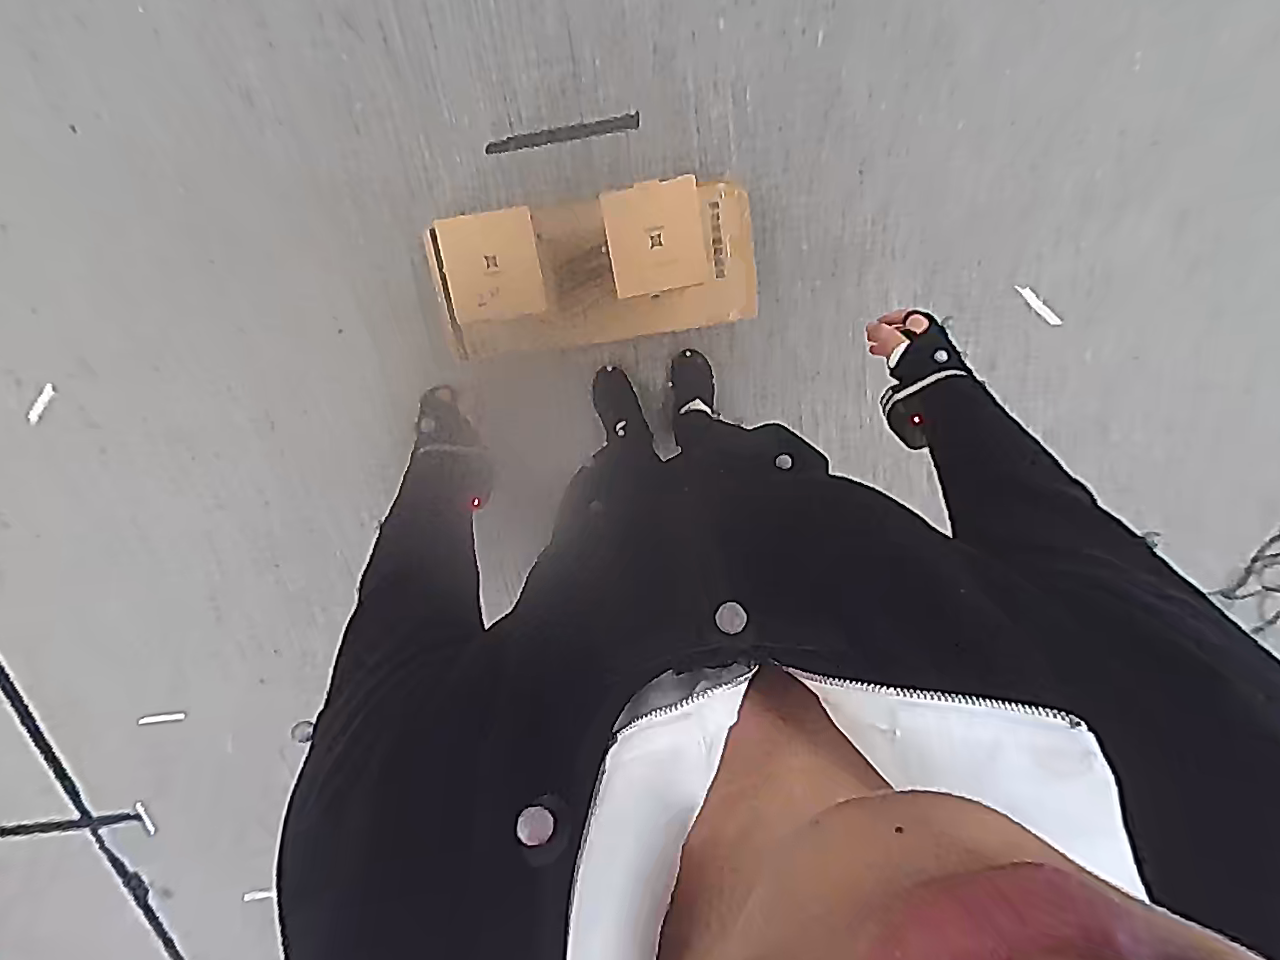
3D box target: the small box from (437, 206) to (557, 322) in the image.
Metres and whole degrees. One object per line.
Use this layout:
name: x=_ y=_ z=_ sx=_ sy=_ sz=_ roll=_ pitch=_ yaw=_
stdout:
small box: x=-0.258 y=-0.395 z=1.016 sx=0.168 sy=0.176 sz=0.179 roll=-8 pitch=107 yaw=1

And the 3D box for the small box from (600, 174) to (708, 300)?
small box: x=0.026 y=-0.441 z=1.009 sx=0.168 sy=0.176 sz=0.179 roll=-10 pitch=108 yaw=4
